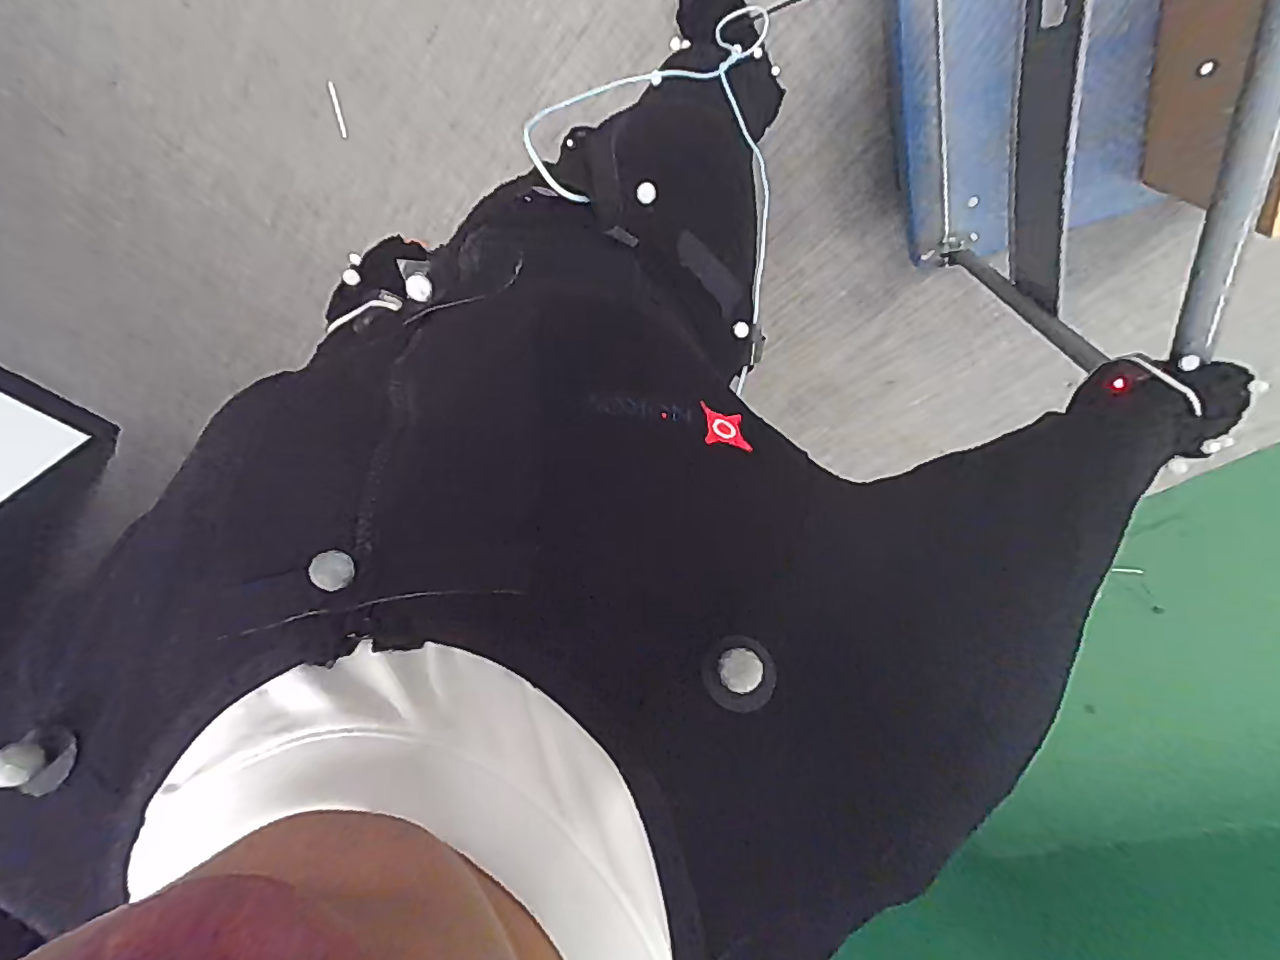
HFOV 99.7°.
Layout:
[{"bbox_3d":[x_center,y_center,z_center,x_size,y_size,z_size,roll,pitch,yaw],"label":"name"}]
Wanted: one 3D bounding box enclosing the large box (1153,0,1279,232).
[{"bbox_3d":[0.942,-0.613,0.688,0.320,0.320,0.408,-16,128,20],"label":"large box"}]
